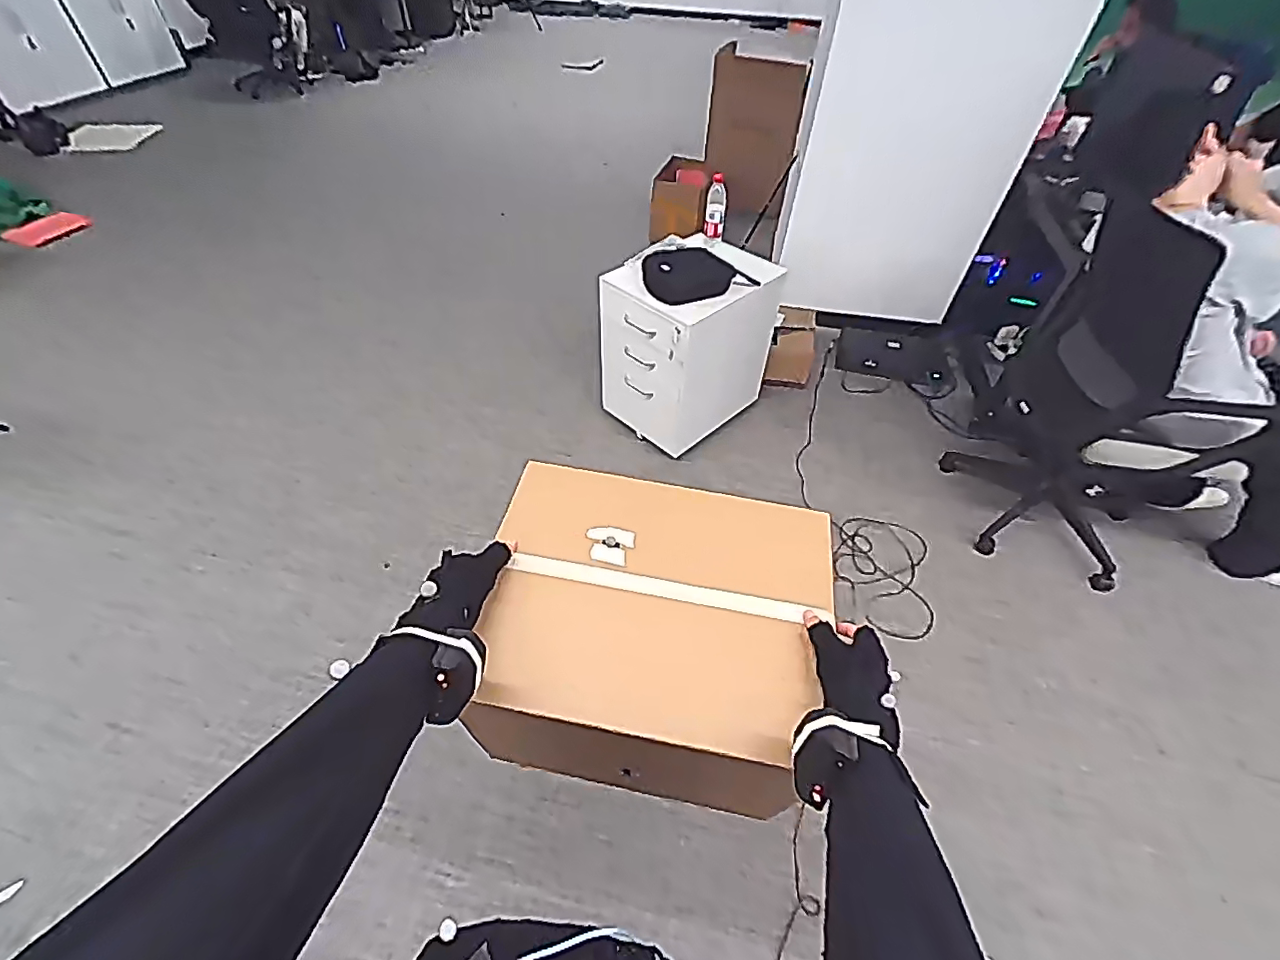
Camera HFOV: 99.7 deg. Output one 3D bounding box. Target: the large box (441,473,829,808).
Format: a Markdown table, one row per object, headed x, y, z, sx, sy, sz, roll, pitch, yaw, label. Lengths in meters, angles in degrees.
| x | y | z | sx | sy | sz | roll | pitch | yaw | label |
| --- | --- | --- | --- | --- | --- | --- | --- | --- | --- |
| 0.011 | 0.228 | 0.748 | 0.408 | 0.320 | 0.320 | 10 | 51 | 5 | large box |
